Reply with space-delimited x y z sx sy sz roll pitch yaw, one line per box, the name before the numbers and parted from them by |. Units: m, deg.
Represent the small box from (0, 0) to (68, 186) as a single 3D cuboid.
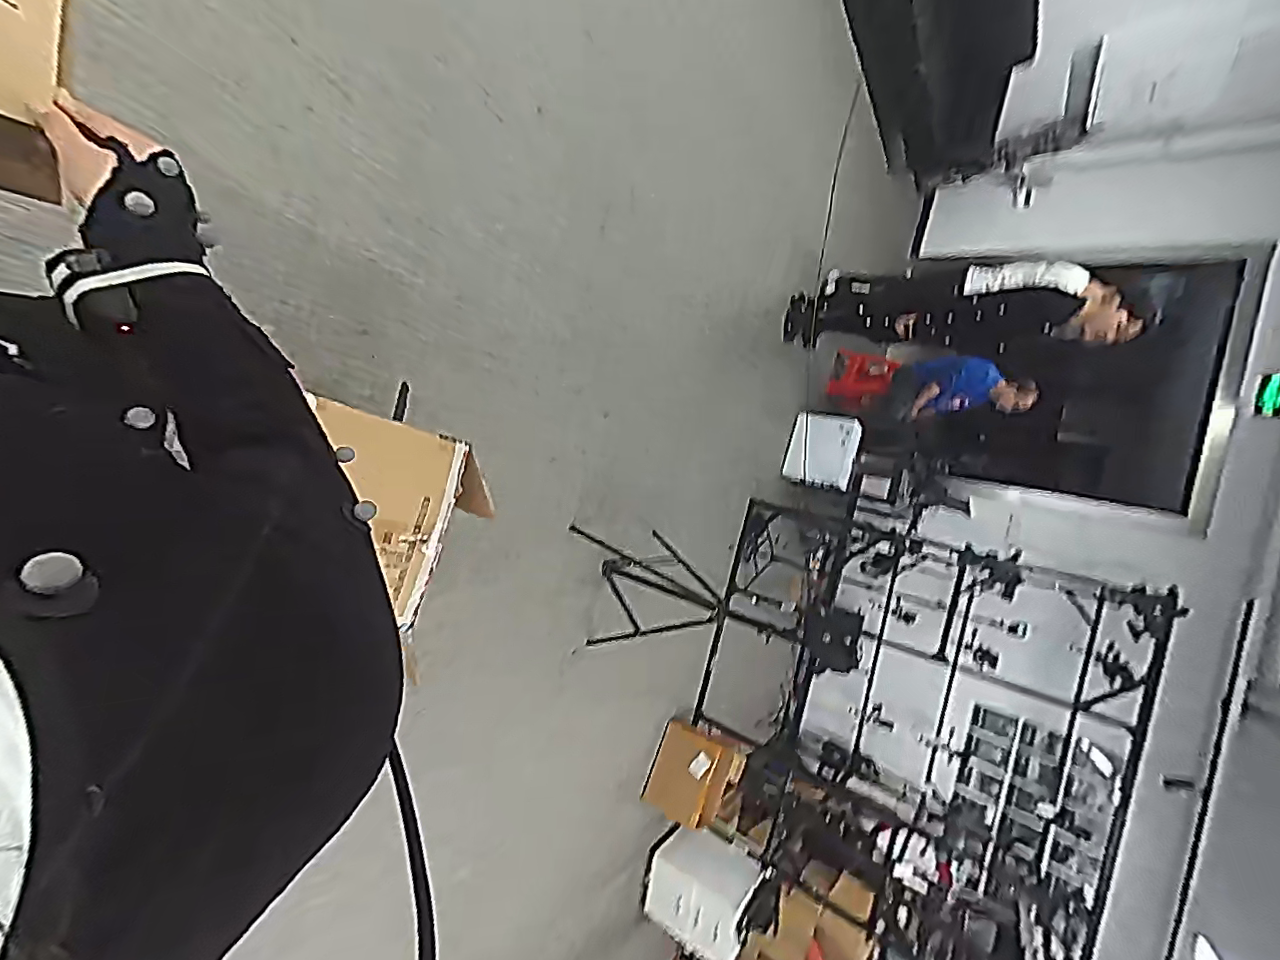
small box | -0.549 -0.348 0.391 0.179 0.176 0.168 4 89 -47
